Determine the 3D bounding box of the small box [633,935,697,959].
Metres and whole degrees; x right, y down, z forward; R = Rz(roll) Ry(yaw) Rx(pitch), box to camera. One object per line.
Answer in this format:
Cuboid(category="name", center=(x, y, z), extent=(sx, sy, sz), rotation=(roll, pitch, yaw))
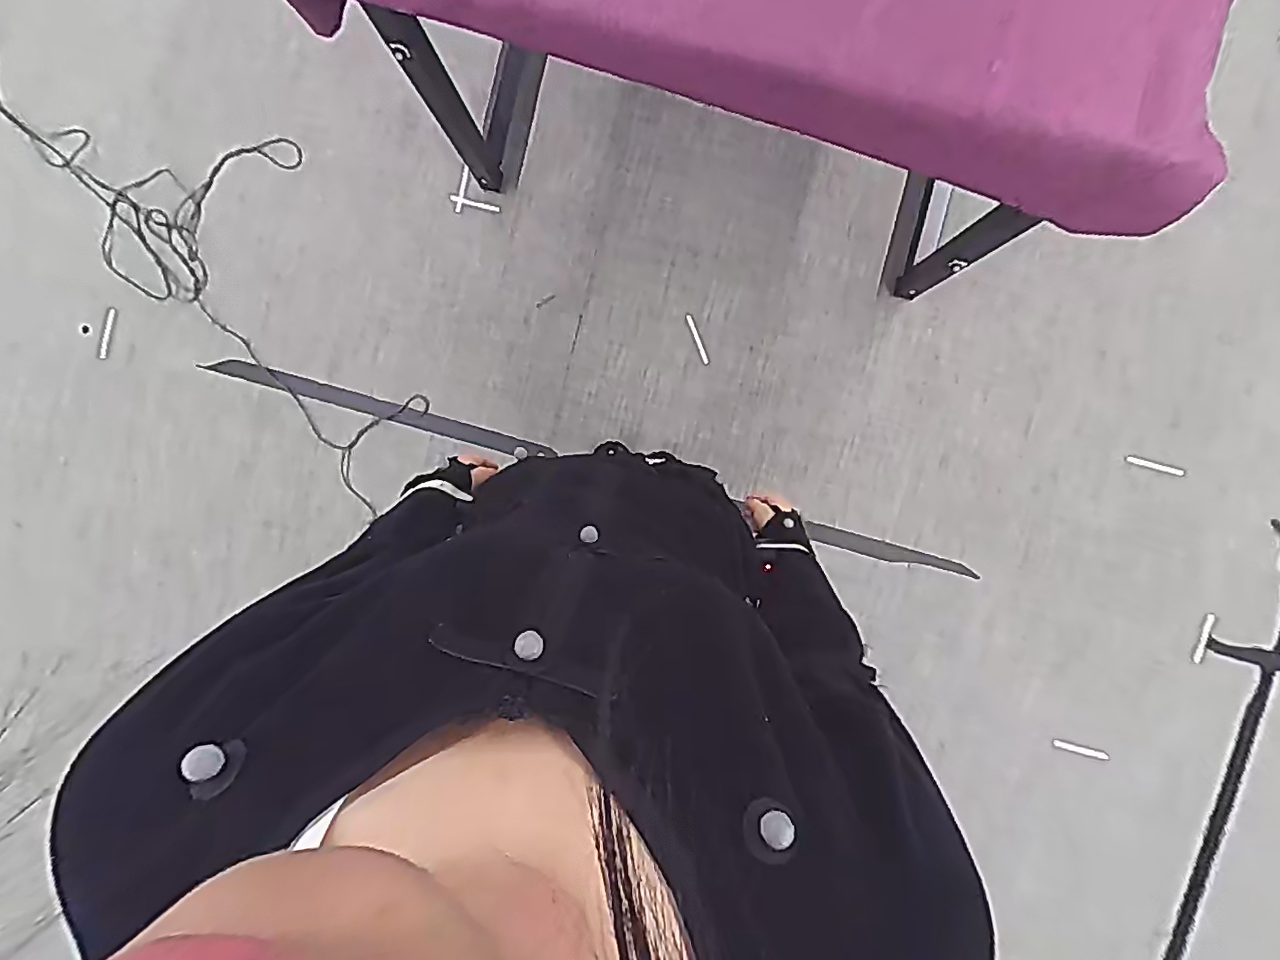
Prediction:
Cuboid(category="small box", center=(0.086, 1.379, 1.436), extent=(0.168, 0.176, 0.179), rotation=(-26, 93, 2))
